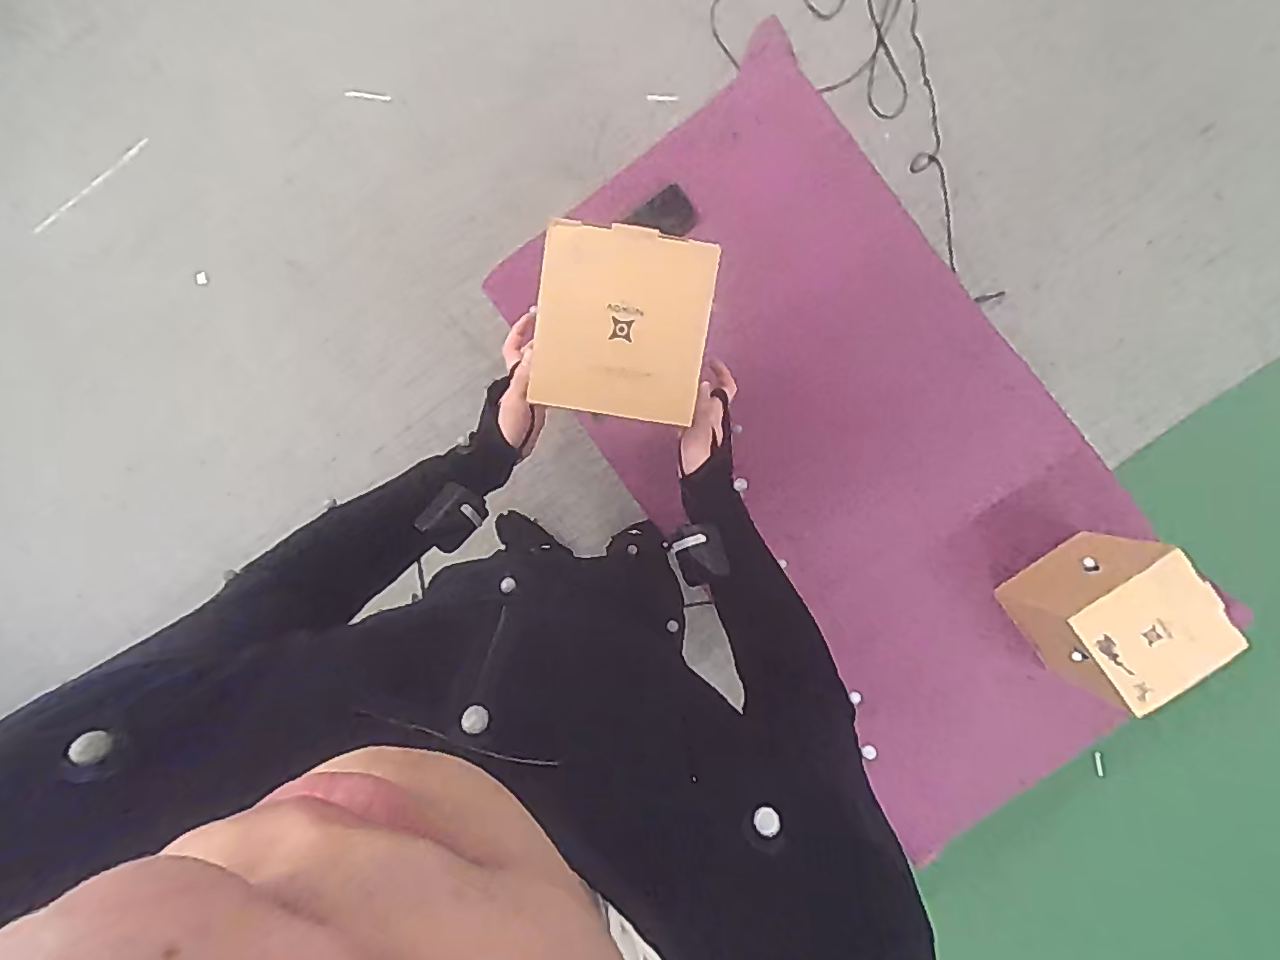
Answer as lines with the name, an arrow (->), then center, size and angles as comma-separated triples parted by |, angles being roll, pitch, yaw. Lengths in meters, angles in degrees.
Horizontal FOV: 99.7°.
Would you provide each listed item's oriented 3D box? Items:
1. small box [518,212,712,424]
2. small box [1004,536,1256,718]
small box -> -0.026, -0.163, 0.590 | 0.168, 0.176, 0.179 | 8, 99, -1
small box -> 0.691, 0.198, 0.788 | 0.179, 0.176, 0.168 | -35, 89, 3
